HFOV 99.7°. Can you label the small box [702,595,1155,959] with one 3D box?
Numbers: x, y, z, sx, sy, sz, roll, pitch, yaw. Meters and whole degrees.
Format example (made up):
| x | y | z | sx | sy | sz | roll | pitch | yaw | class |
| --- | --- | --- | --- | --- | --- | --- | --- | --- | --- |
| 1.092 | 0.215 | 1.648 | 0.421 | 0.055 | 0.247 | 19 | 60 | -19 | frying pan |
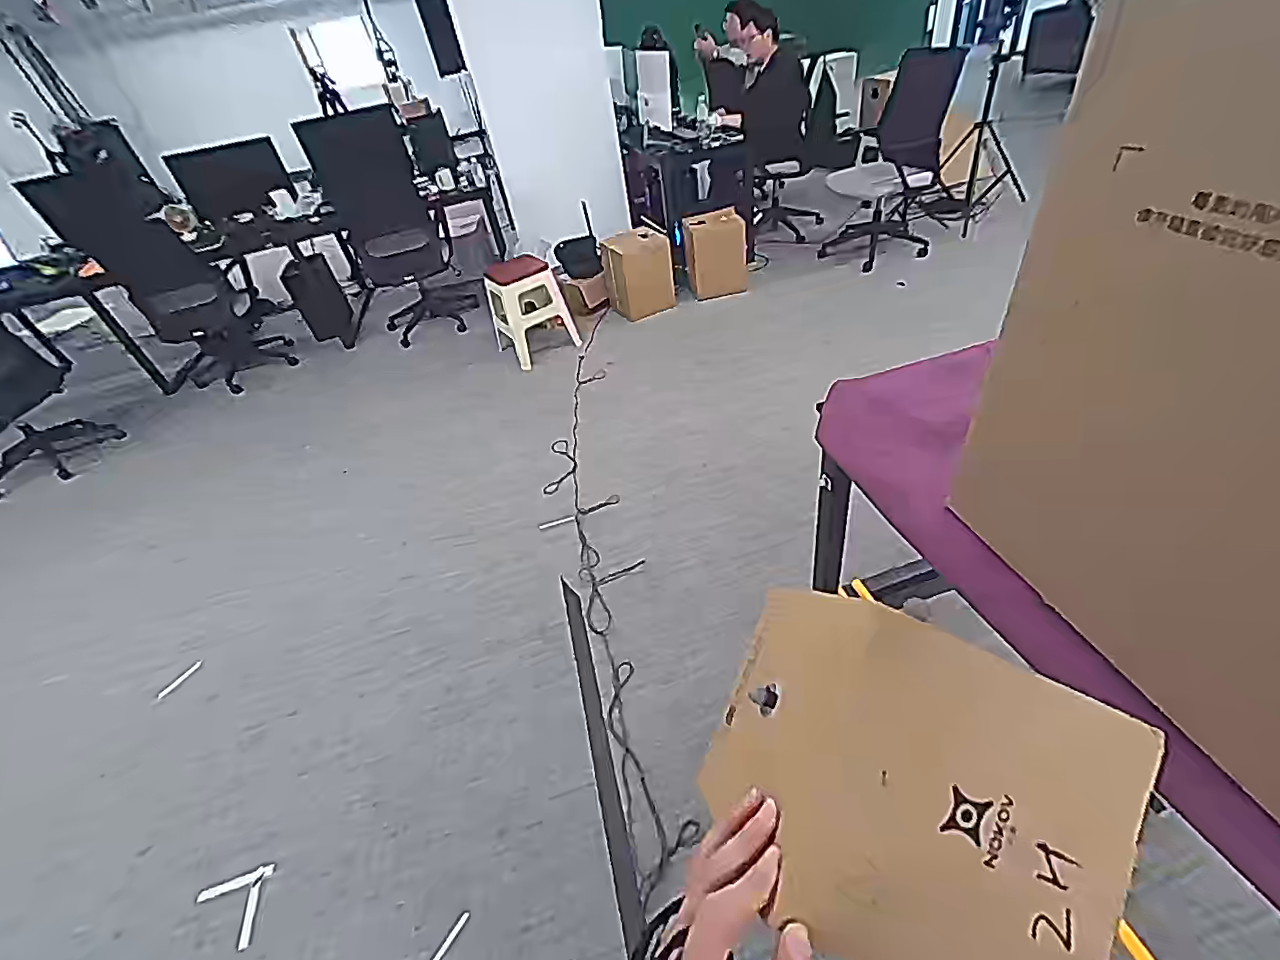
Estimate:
| x | y | z | sx | sy | sz | roll | pitch | yaw | class |
| --- | --- | --- | --- | --- | --- | --- | --- | --- | --- |
| 0.159 | 0.184 | 0.354 | 0.179 | 0.176 | 0.168 | 25 | 81 | -2 | small box |
